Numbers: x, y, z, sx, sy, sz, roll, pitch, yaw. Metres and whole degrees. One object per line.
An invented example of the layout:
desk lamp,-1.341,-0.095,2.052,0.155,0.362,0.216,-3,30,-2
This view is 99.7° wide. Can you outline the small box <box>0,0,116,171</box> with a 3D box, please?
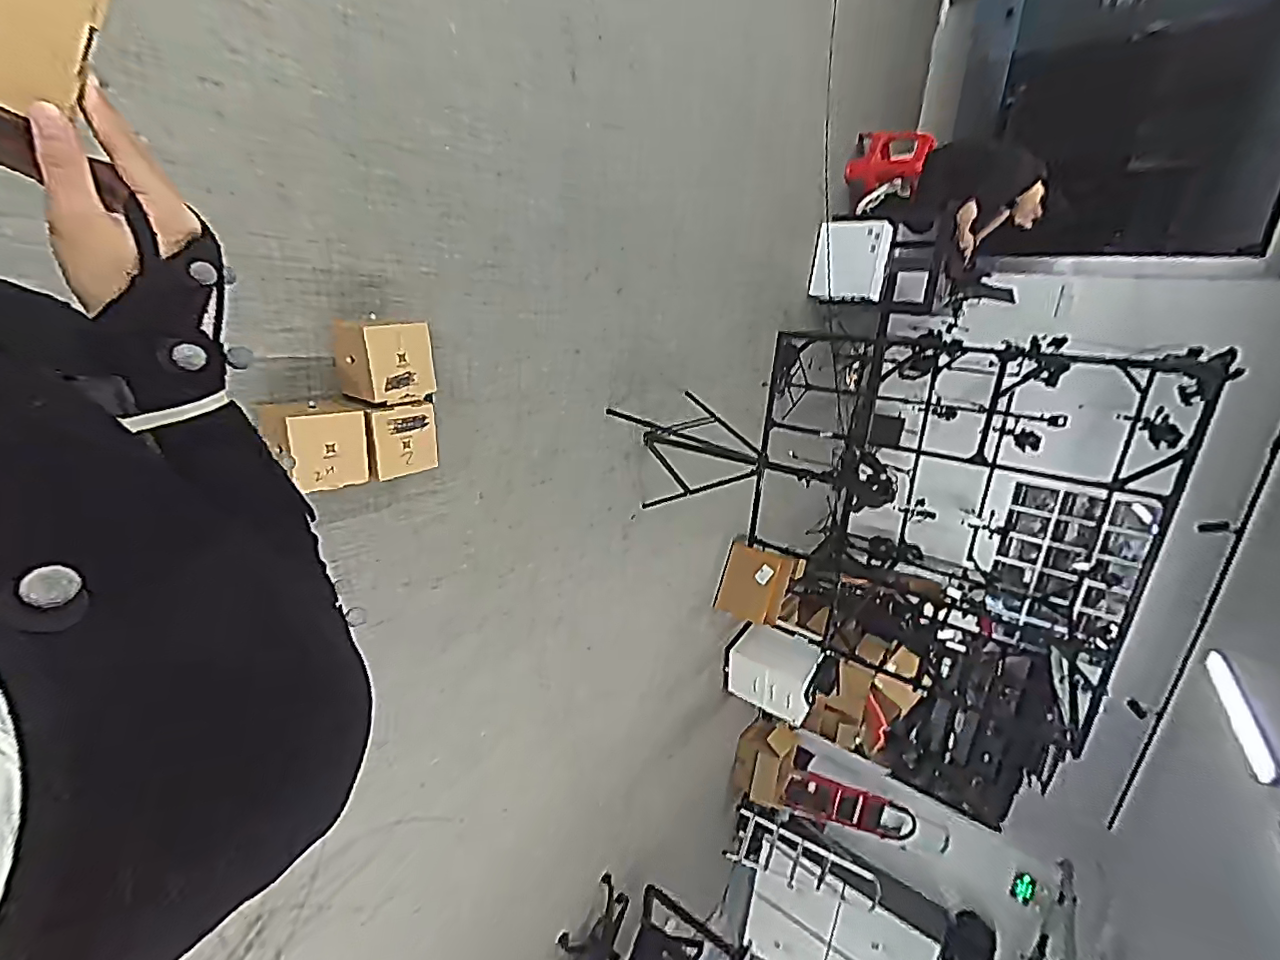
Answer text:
small box,-0.391,-0.284,0.269,0.179,0.176,0.168,14,91,-52
